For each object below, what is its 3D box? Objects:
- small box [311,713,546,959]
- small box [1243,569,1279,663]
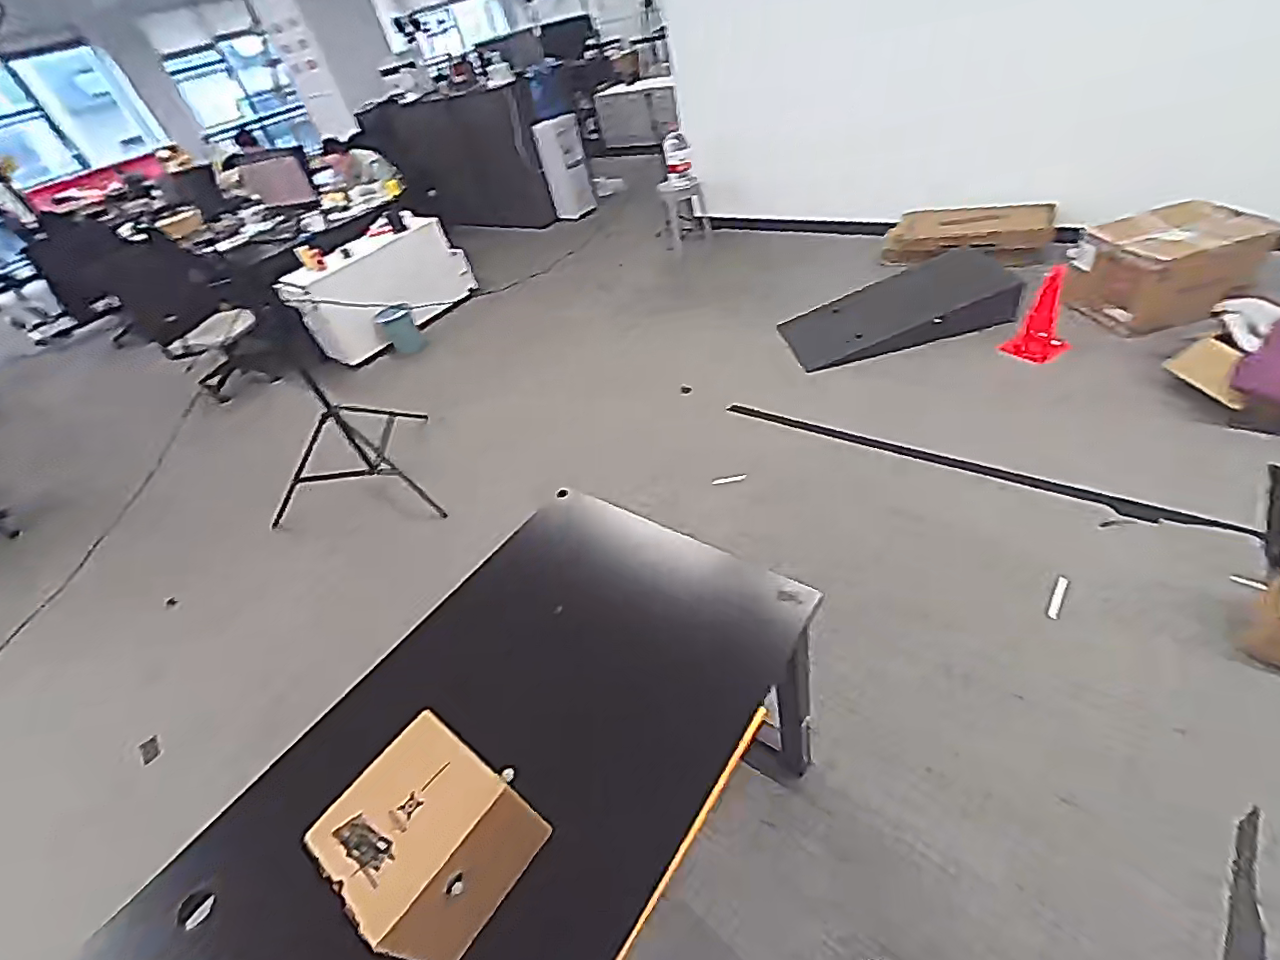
[{"bbox_3d":[-0.244,0.433,0.658,0.168,0.176,0.179,21,53,35],"label":"small box"},{"bbox_3d":[1.579,0.340,1.272,0.168,0.176,0.179,23,56,35],"label":"small box"}]
